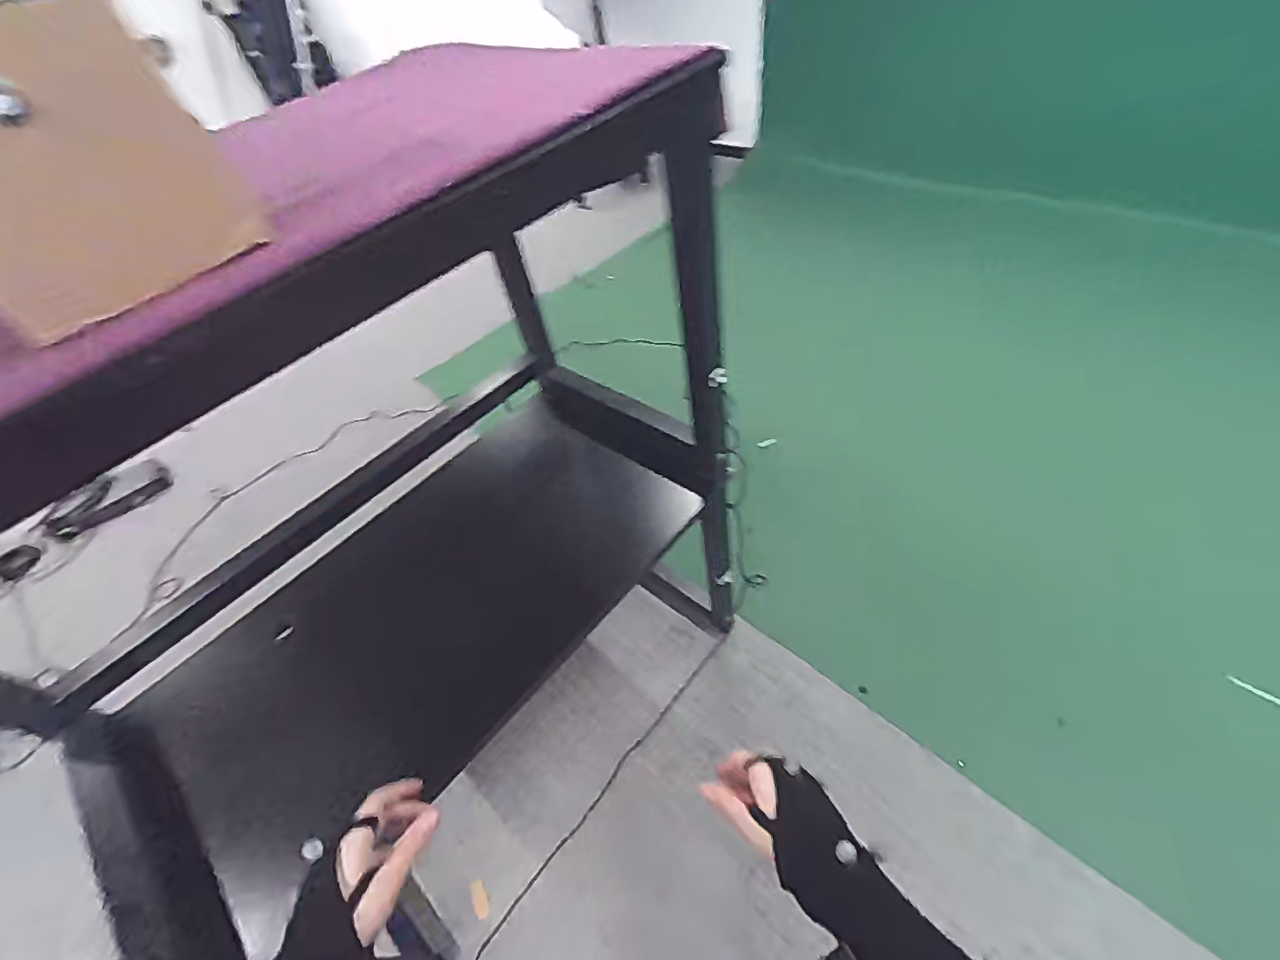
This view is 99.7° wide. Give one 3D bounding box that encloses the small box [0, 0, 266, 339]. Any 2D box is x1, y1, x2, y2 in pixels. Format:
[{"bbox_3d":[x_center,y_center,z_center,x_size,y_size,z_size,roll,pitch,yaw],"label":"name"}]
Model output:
[{"bbox_3d":[-0.434,-0.230,0.399,0.168,0.176,0.179,29,60,32],"label":"small box"}]
